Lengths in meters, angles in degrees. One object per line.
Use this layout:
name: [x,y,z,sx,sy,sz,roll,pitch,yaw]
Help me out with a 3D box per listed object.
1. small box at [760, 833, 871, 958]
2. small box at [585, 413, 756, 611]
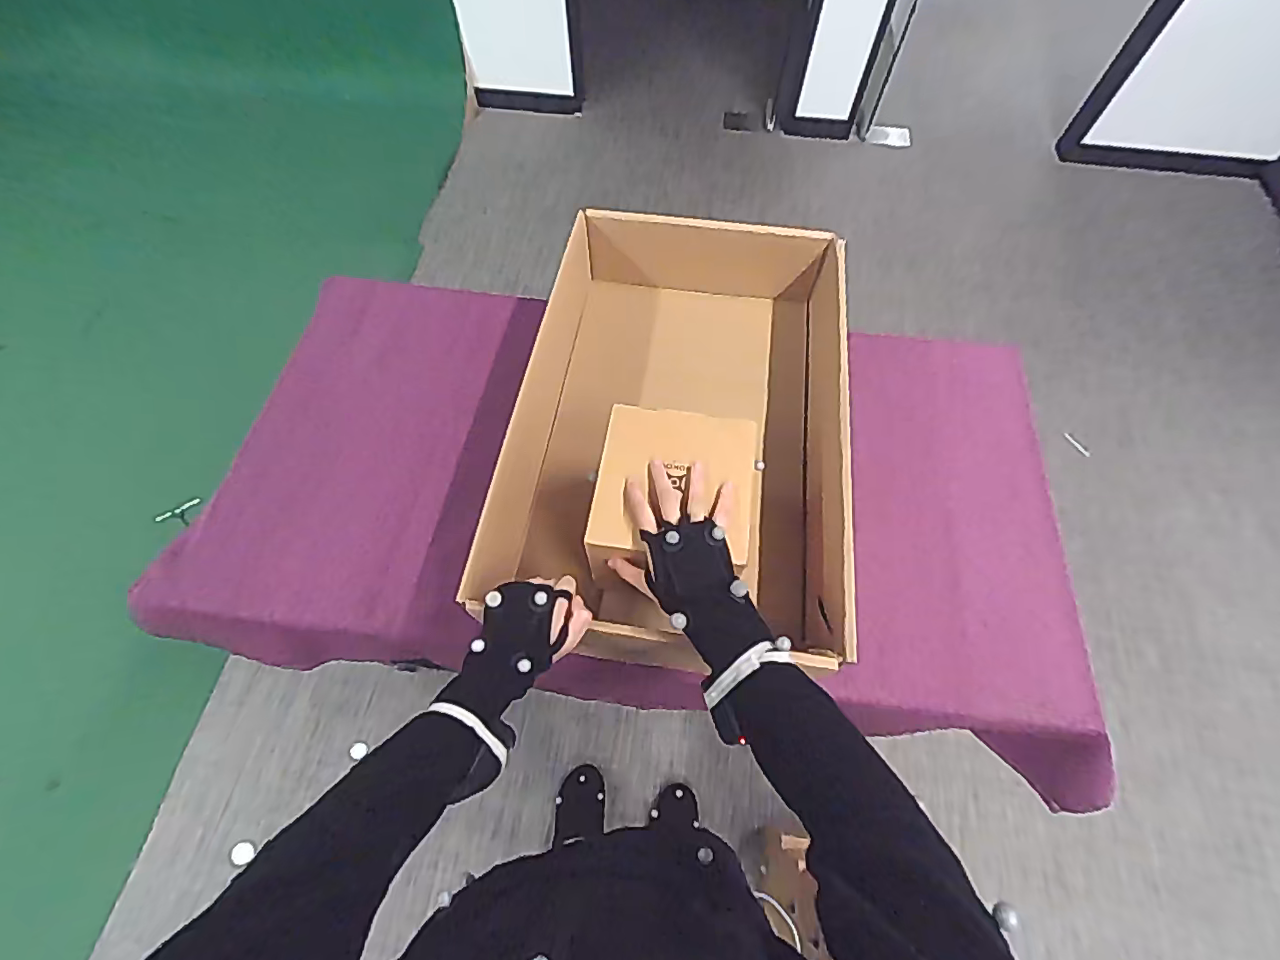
small box: [0.353,0.843,1.115,0.179,0.176,0.168,6,63,3]
small box: [0.039,0.045,0.648,0.168,0.176,0.179,7,62,4]
